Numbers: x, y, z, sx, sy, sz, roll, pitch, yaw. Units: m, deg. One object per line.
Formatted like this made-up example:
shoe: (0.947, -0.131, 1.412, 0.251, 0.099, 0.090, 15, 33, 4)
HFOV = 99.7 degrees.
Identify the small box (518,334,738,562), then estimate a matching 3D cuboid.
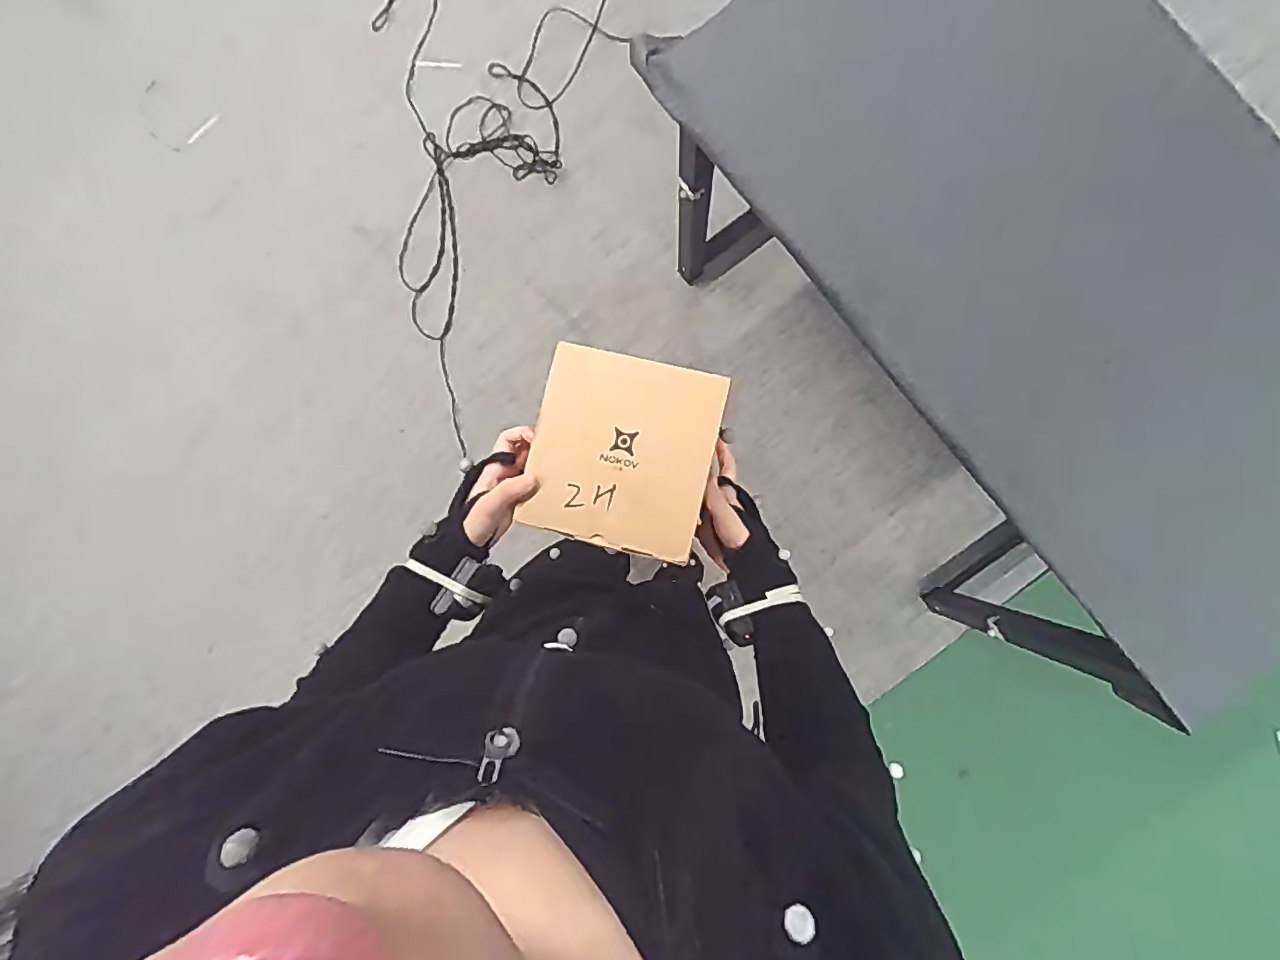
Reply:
small box: (-0.007, -0.024, 0.560, 0.168, 0.176, 0.179, 14, 86, 5)
